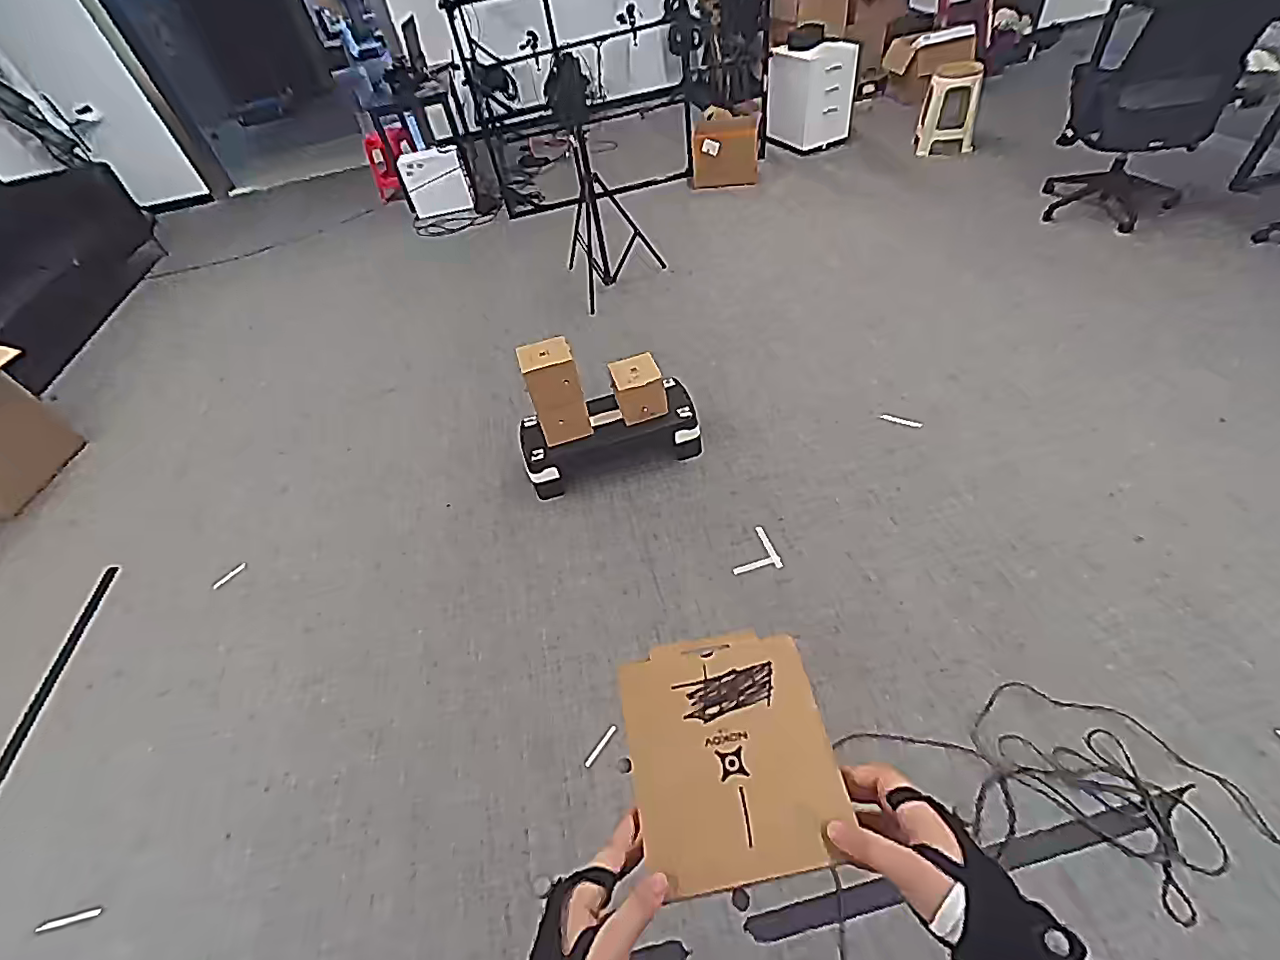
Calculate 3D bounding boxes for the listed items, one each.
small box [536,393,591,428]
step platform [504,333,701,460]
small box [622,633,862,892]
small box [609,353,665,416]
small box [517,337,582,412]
[{"bbox_3d":[-0.285,-0.255,1.988,0.179,0.176,0.168,-18,47,-5],"label":"small box"},{"bbox_3d":[-0.129,-0.299,1.950,0.684,0.204,0.286,-16,46,-5],"label":"step platform"},{"bbox_3d":[0.077,0.270,0.514,0.168,0.176,0.179,-9,53,-4],"label":"small box"},{"bbox_3d":[-0.008,-0.338,2.010,0.168,0.176,0.179,-18,47,-4],"label":"small box"},{"bbox_3d":[-0.308,-0.364,1.868,0.179,0.176,0.168,-18,46,-6],"label":"small box"}]
